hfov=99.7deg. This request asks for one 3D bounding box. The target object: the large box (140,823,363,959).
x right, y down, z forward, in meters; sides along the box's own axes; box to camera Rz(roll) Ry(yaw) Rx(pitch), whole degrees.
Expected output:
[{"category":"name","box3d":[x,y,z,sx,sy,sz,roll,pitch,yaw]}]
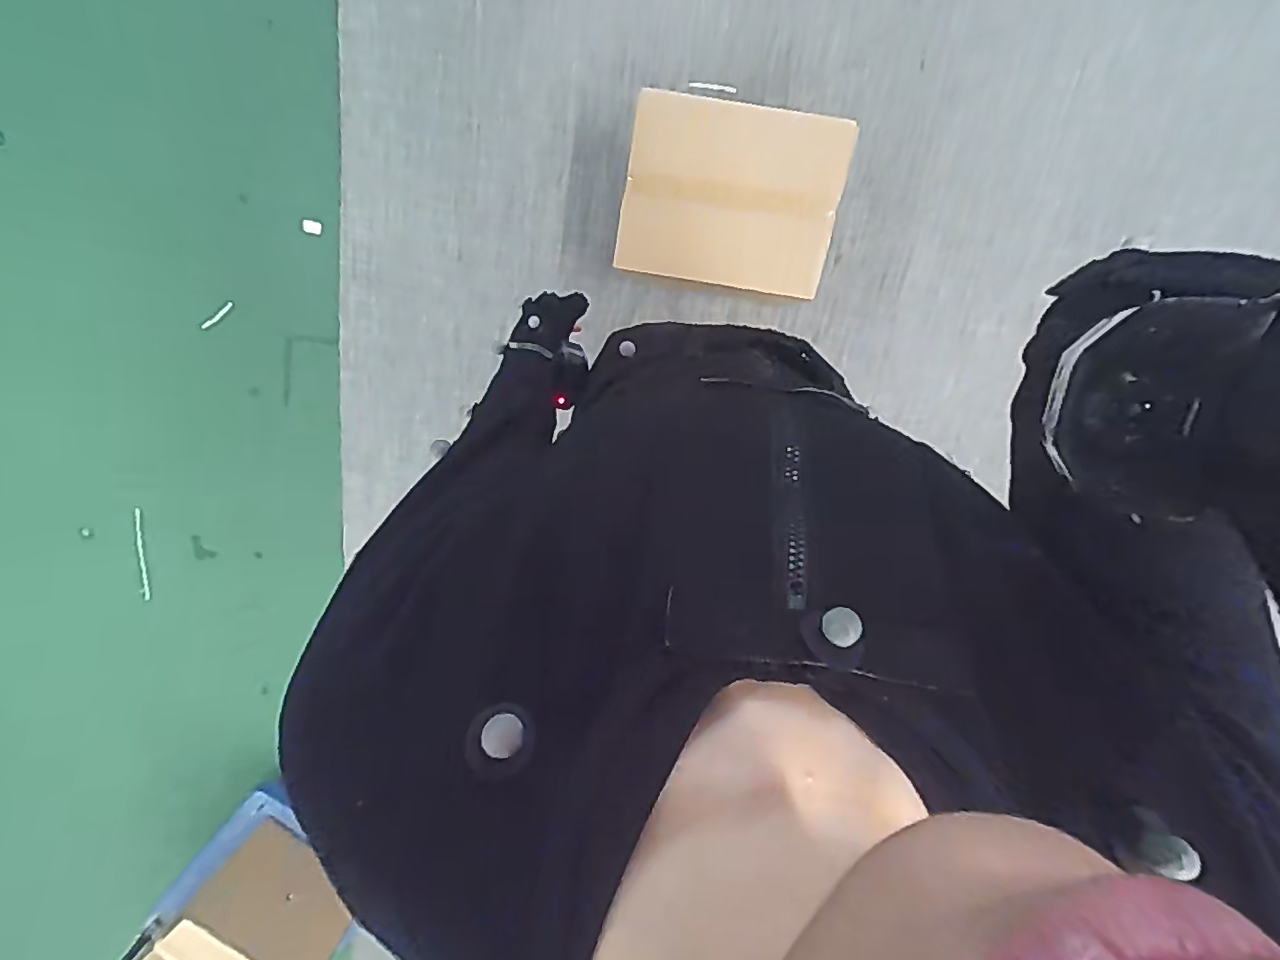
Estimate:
[{"category":"large box","box3d":[-1.141,1.334,1.604,0.408,0.320,0.320,43,105,-8]}]
